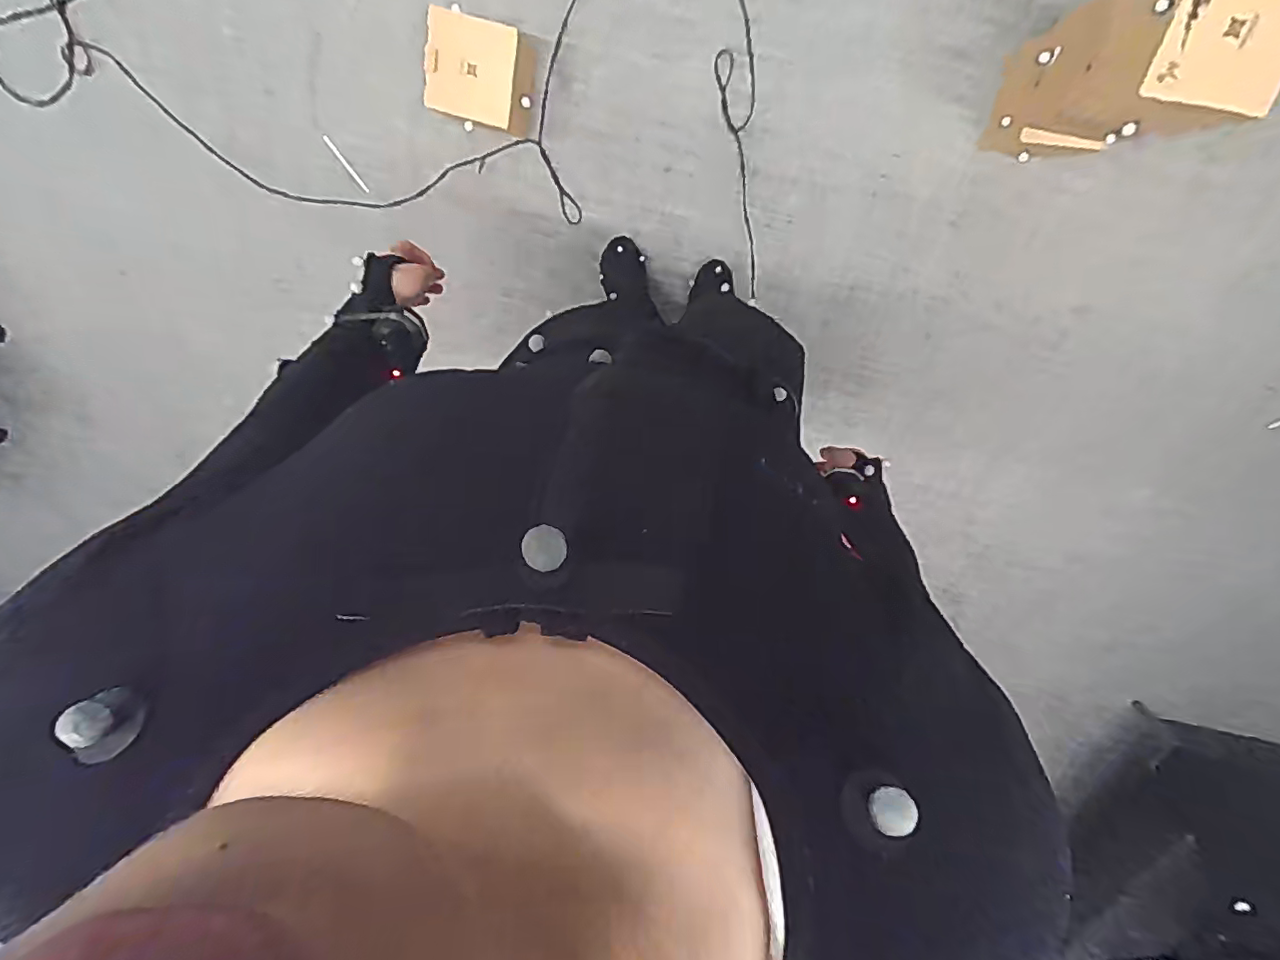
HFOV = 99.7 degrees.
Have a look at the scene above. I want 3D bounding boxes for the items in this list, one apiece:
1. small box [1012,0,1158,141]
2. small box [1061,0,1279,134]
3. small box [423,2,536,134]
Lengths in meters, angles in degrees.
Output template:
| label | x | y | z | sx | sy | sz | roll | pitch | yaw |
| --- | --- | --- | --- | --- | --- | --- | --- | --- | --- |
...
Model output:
| label | x | y | z | sx | sy | sz | roll | pitch | yaw |
| --- | --- | --- | --- | --- | --- | --- | --- | --- | --- |
| small box | 0.785 | -0.683 | 0.908 | 0.179 | 0.176 | 0.168 | 11 | 116 | 1 |
| small box | 0.764 | -0.605 | 0.765 | 0.179 | 0.176 | 0.168 | 11 | 116 | -1 |
| small box | -0.323 | -0.830 | 1.110 | 0.179 | 0.176 | 0.168 | 14 | 117 | -2 |
